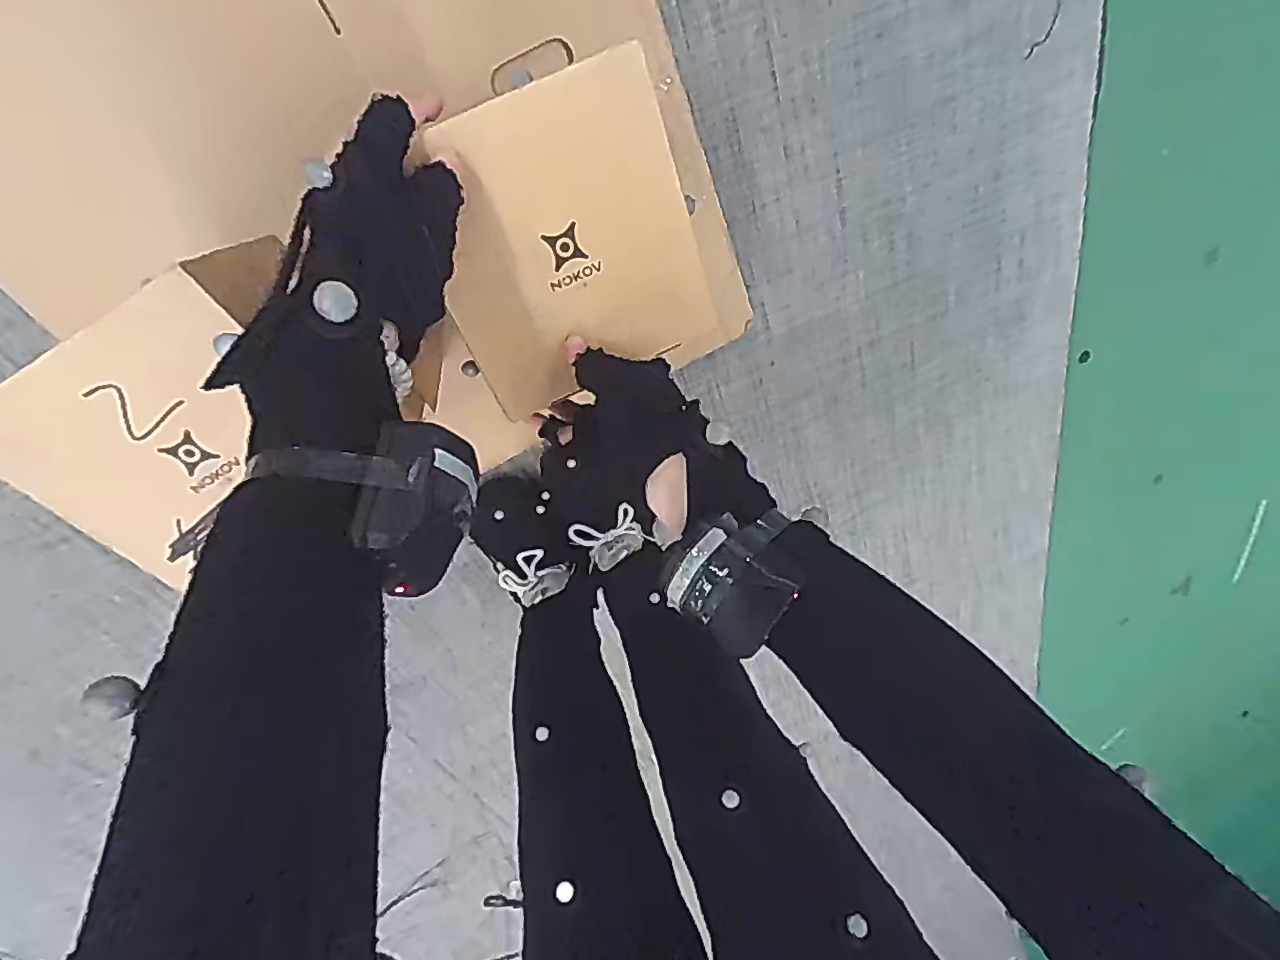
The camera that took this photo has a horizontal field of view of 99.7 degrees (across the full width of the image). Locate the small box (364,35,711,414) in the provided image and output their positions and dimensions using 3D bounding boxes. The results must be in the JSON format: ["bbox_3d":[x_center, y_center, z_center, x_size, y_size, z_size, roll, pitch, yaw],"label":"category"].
[{"bbox_3d":[-0.071,-0.182,0.405,0.168,0.176,0.179,-25,124,-2],"label":"small box"}]

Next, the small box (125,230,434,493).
[{"bbox_3d":[-0.329,-0.126,0.544,0.168,0.176,0.179,-31,123,1],"label":"small box"}]
